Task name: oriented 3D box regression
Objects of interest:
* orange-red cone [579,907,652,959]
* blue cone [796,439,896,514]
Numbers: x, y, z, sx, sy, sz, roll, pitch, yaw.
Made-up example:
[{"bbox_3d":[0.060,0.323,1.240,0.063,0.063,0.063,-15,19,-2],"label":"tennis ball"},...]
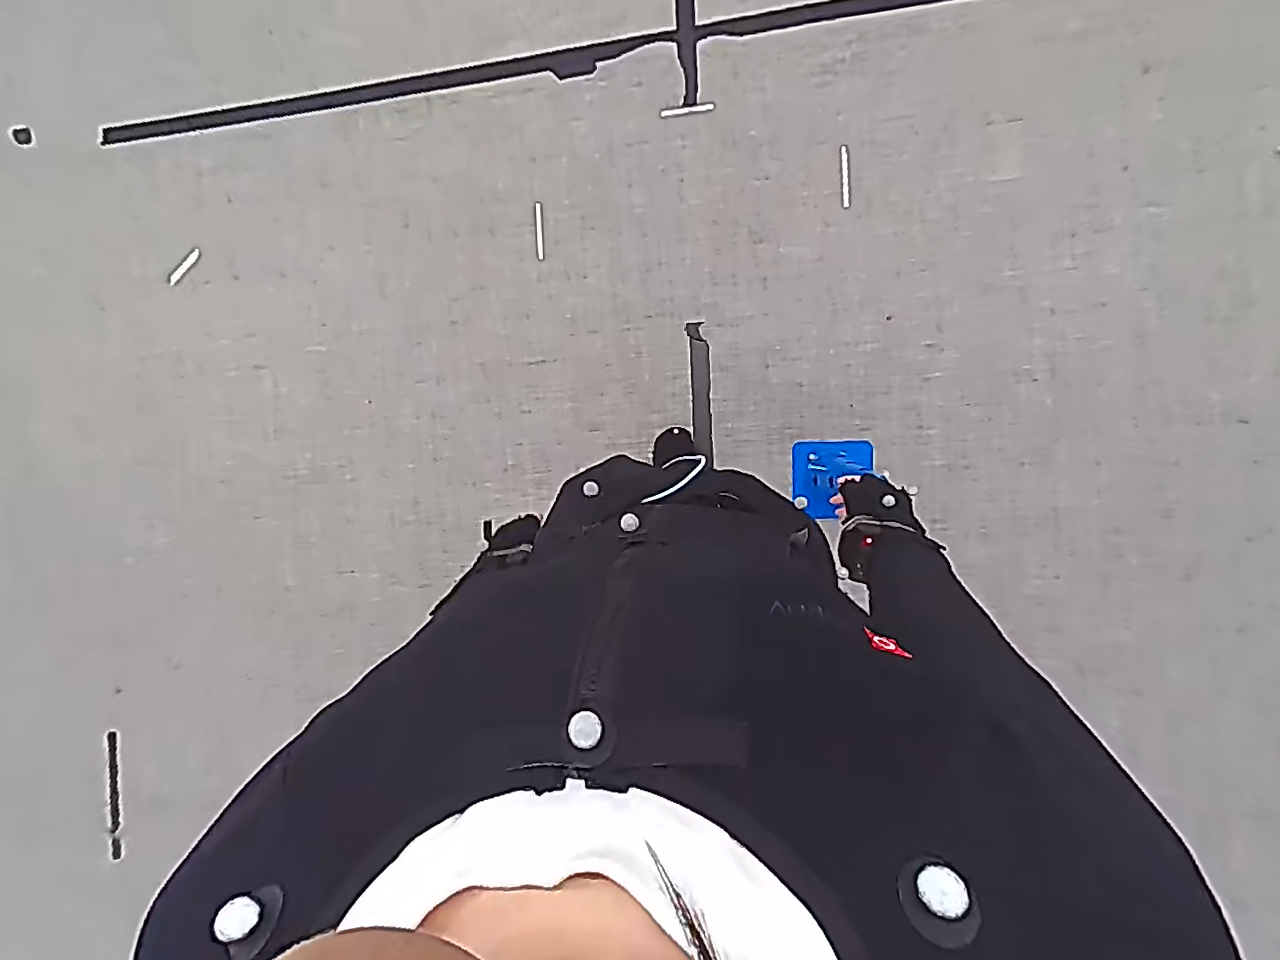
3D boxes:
[{"bbox_3d":[-0.092,1.270,1.301,0.199,0.360,0.198,2,90,8],"label":"orange-red cone"},{"bbox_3d":[0.478,-0.005,1.212,0.192,0.380,0.193,1,92,6],"label":"blue cone"}]
